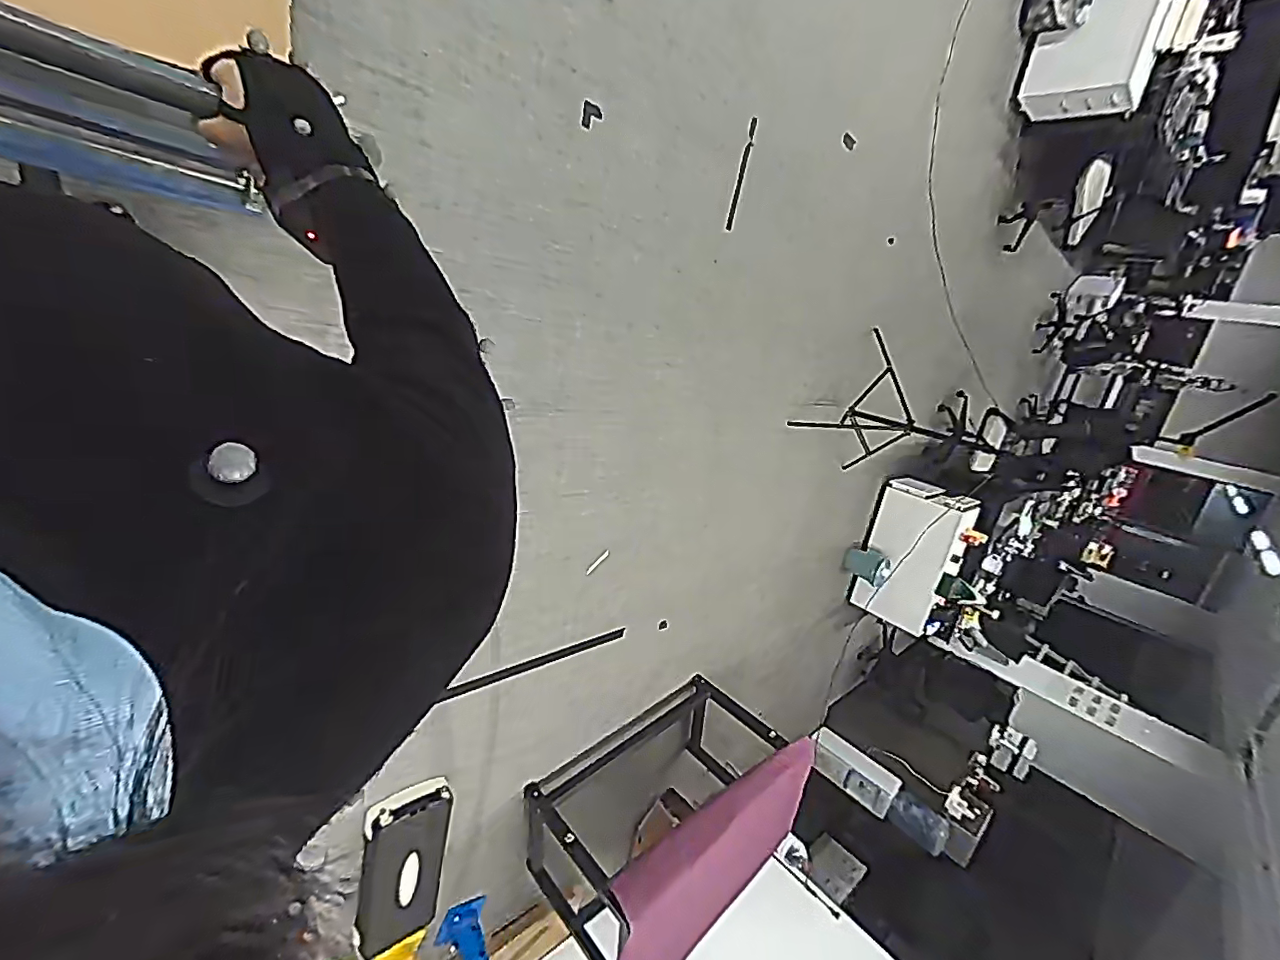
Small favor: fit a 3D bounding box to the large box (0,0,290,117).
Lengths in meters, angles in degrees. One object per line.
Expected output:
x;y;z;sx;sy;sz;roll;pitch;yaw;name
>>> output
-0.738;-0.720;0.701;0.408;0.320;0.320;-12;117;-43;large box
